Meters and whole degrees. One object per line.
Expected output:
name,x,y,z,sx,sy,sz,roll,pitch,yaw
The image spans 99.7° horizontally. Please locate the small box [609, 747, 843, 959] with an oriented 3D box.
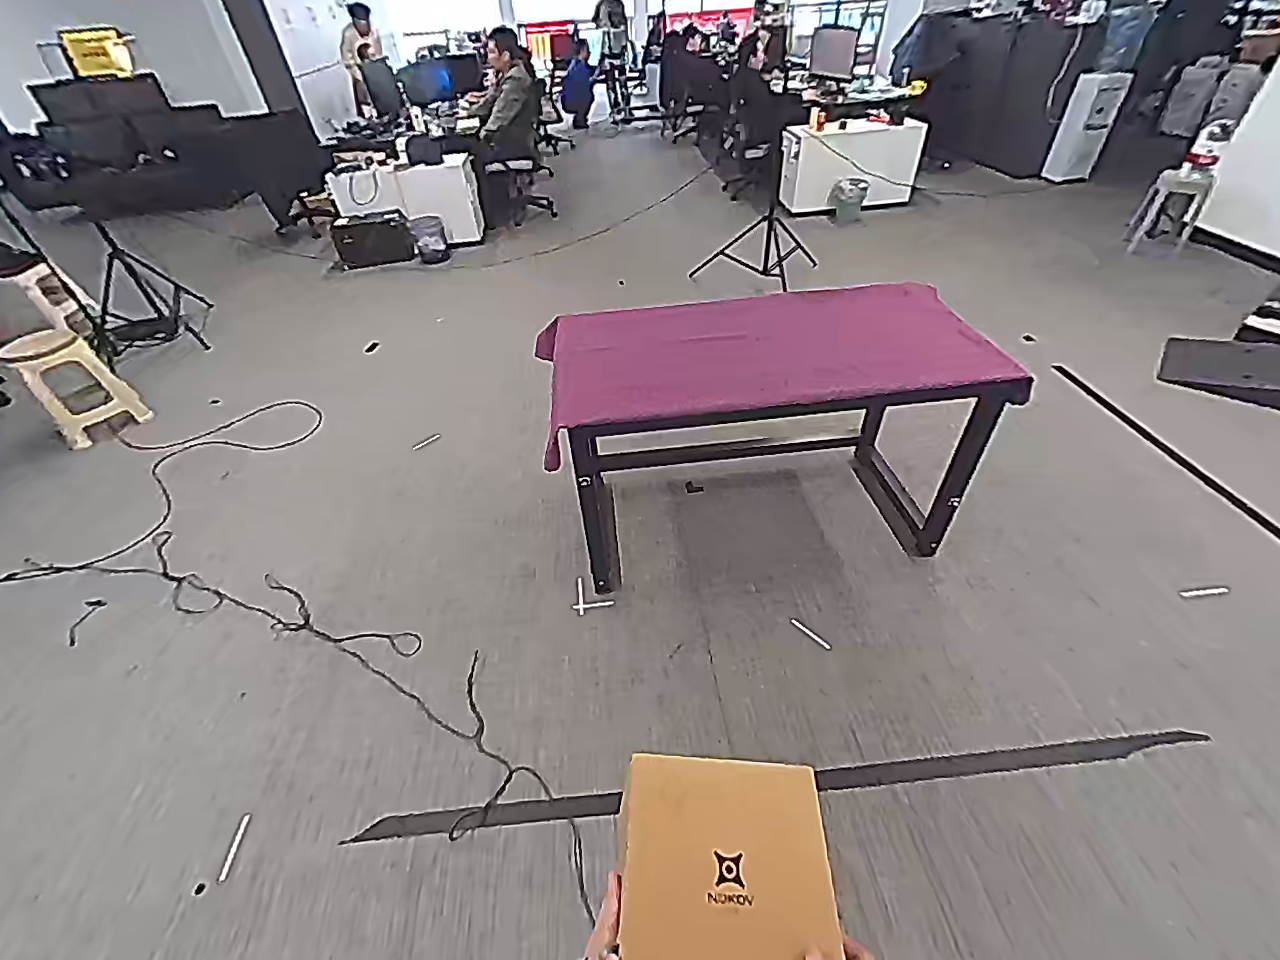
small box,0.062,0.365,0.481,0.168,0.176,0.179,5,44,-1
